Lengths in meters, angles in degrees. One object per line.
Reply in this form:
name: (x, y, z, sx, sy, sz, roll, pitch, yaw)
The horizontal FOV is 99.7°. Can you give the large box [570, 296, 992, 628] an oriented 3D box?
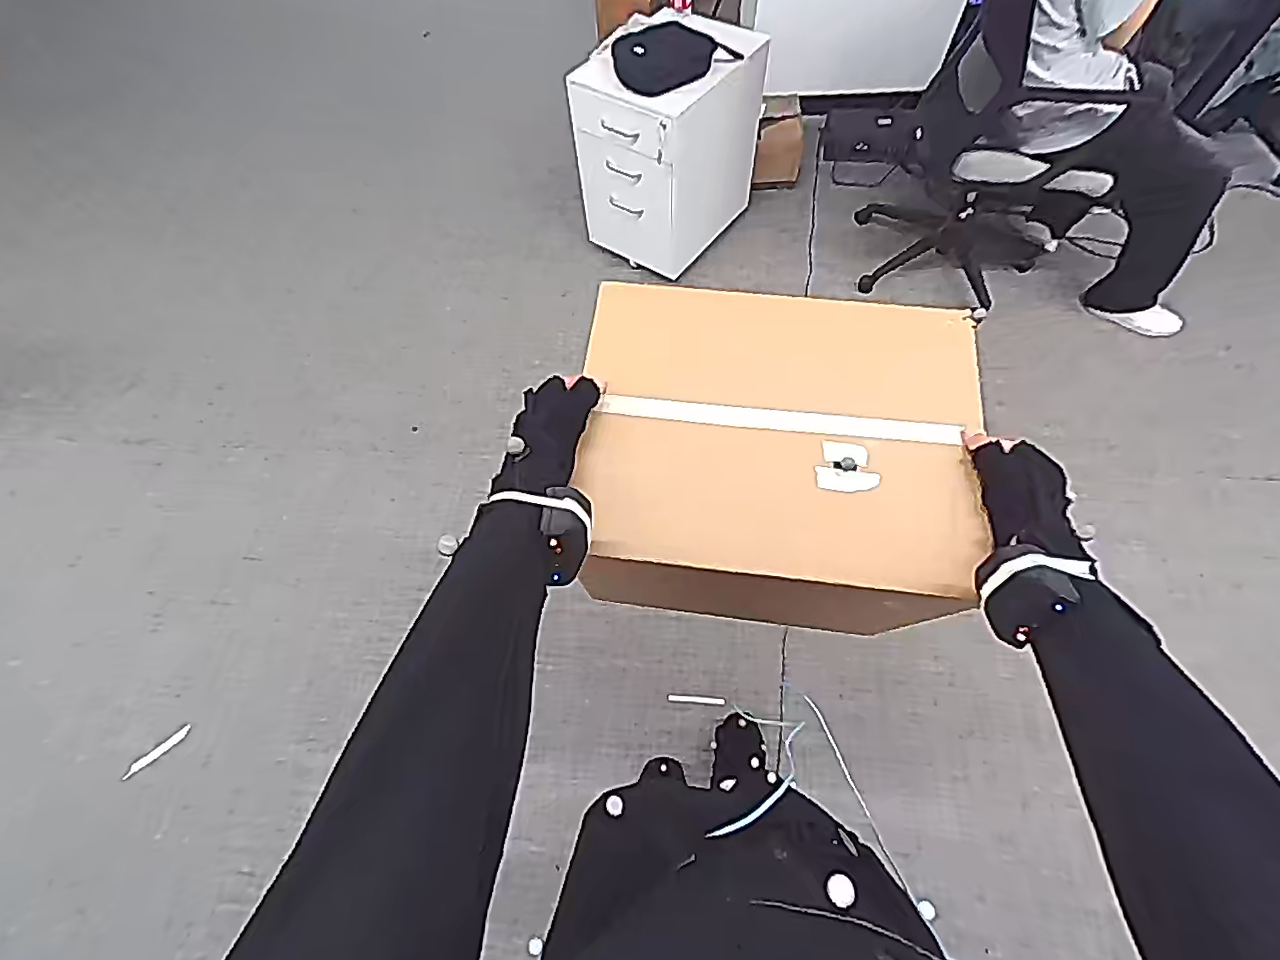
large box: (0.147, -0.002, 0.698, 0.408, 0.320, 0.320, 6, 70, 5)
